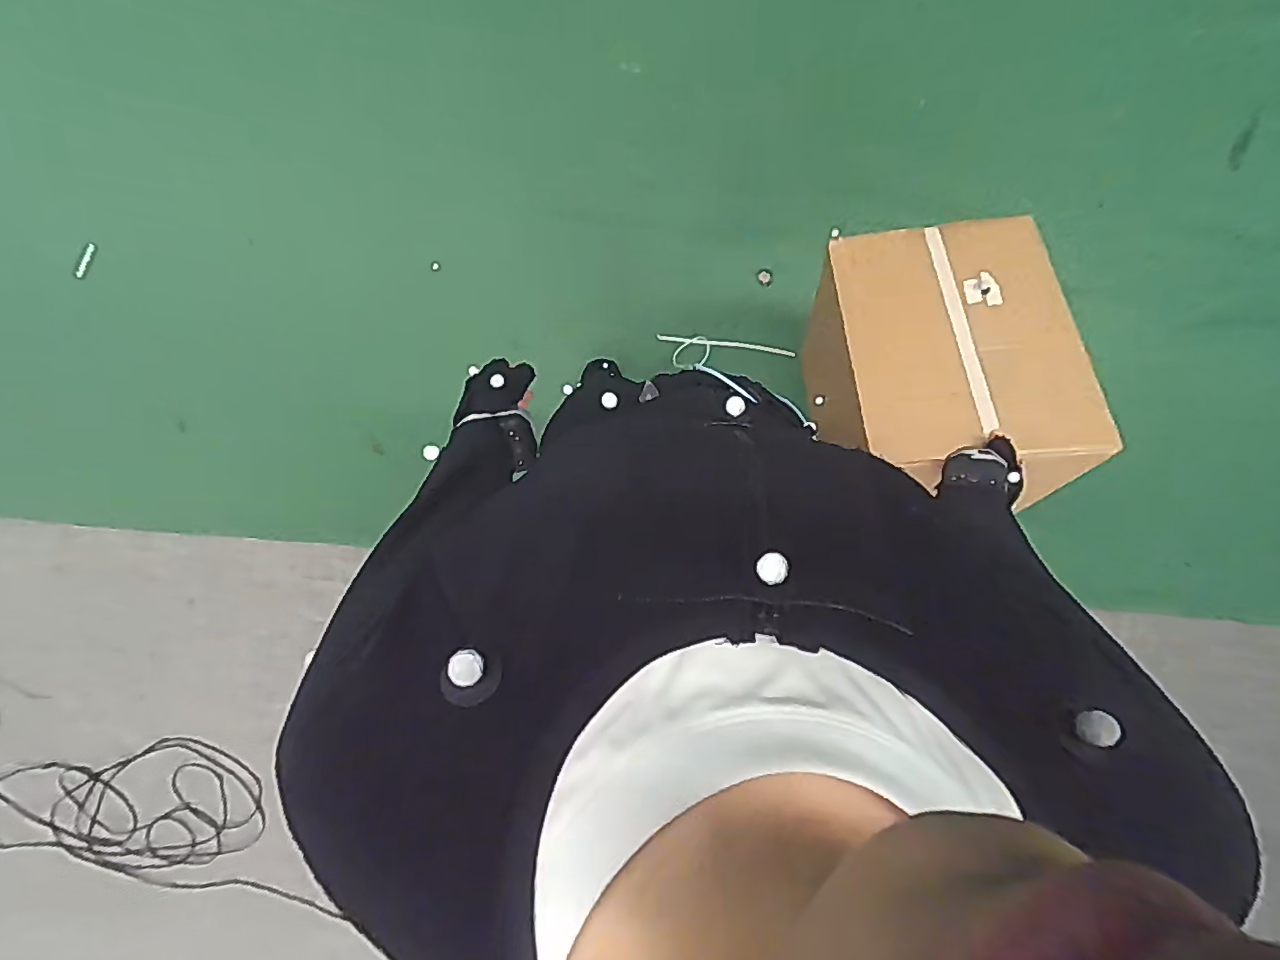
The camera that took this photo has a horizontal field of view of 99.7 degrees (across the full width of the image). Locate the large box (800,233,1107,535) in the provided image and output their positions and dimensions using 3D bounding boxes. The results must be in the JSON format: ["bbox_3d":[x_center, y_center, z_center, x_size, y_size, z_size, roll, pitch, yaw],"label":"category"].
[{"bbox_3d":[0.482,-0.147,0.944,0.320,0.320,0.408,-4,66,5],"label":"large box"}]
